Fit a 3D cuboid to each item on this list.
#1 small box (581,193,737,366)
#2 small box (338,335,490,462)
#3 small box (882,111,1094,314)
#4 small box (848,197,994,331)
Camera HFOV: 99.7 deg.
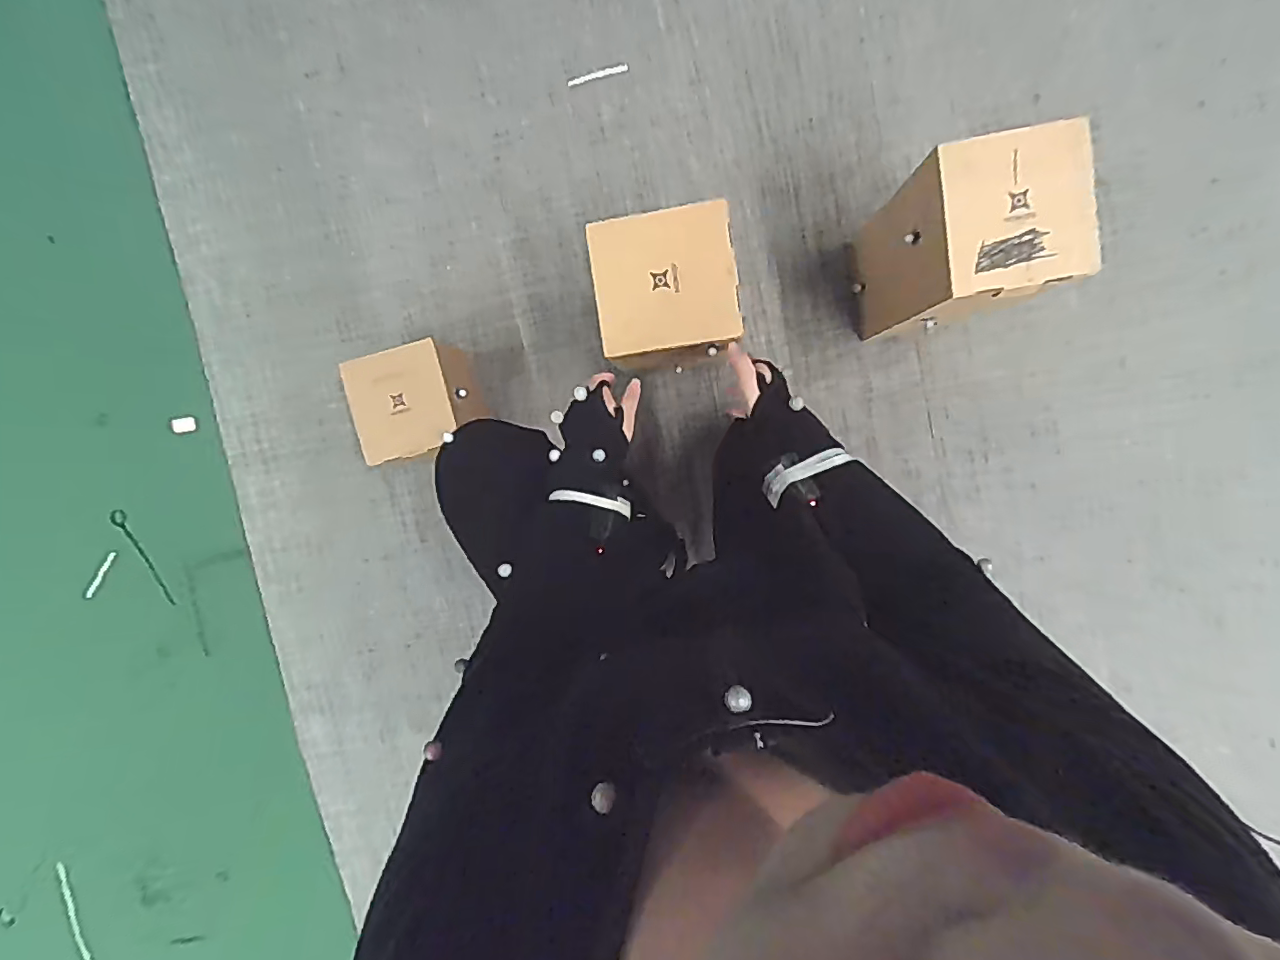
[{"bbox_3d":[0.031,-0.257,0.736,0.179,0.176,0.168,-8,94,5],"label":"small box"},{"bbox_3d":[-0.383,-0.138,0.949,0.168,0.176,0.179,-13,93,5],"label":"small box"},{"bbox_3d":[0.429,-0.321,0.693,0.168,0.176,0.179,-8,94,6],"label":"small box"},{"bbox_3d":[0.445,-0.342,0.856,0.168,0.176,0.179,-9,95,5],"label":"small box"}]
